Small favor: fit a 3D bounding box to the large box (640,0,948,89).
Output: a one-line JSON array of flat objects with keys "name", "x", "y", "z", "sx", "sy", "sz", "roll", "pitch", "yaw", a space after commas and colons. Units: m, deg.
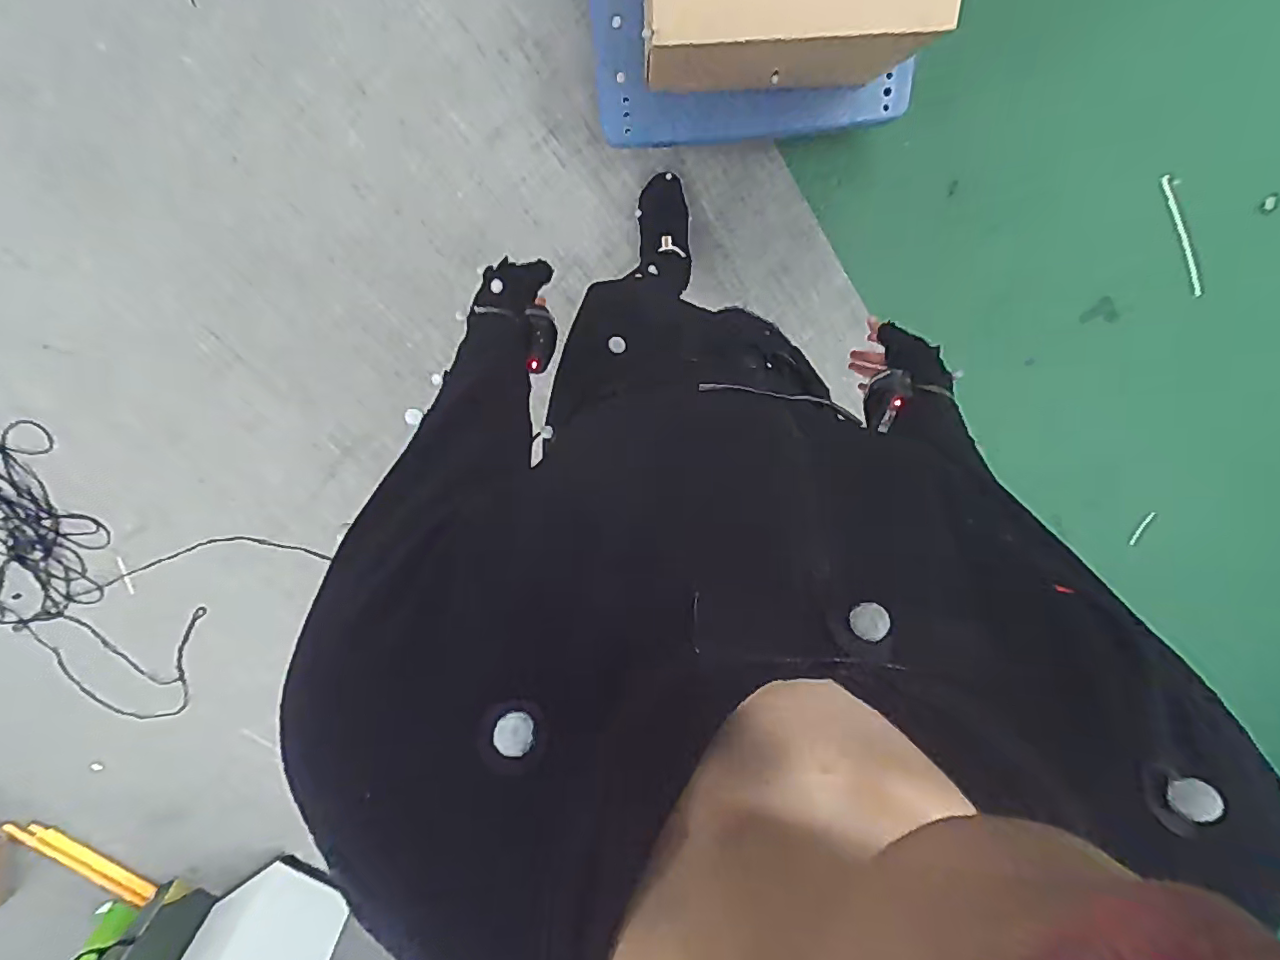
[{"name": "large box", "x": 0.199, "y": -0.788, "z": 0.782, "sx": 0.408, "sy": 0.320, "sz": 0.320, "roll": -1, "pitch": 116, "yaw": 2}]
